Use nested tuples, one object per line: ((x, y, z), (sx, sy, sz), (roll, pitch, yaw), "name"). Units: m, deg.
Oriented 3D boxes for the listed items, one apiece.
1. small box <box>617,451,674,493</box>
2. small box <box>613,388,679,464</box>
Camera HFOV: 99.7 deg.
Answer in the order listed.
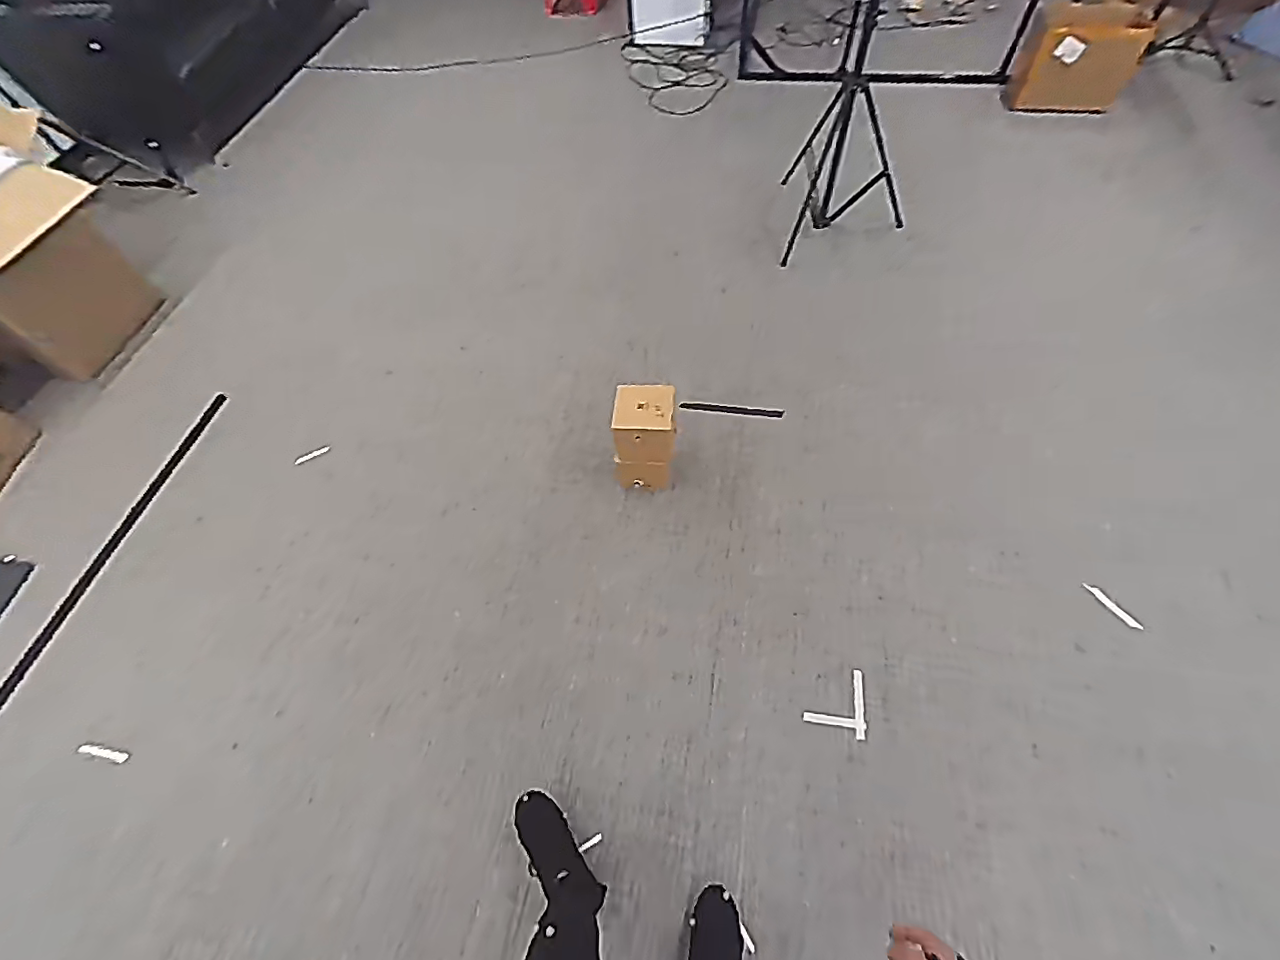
((0.023, -0.077, 1.782), (0.168, 0.176, 0.179), (4, 60, 8), "small box")
((0.024, -0.162, 1.641), (0.179, 0.176, 0.168), (3, 59, 7), "small box")
